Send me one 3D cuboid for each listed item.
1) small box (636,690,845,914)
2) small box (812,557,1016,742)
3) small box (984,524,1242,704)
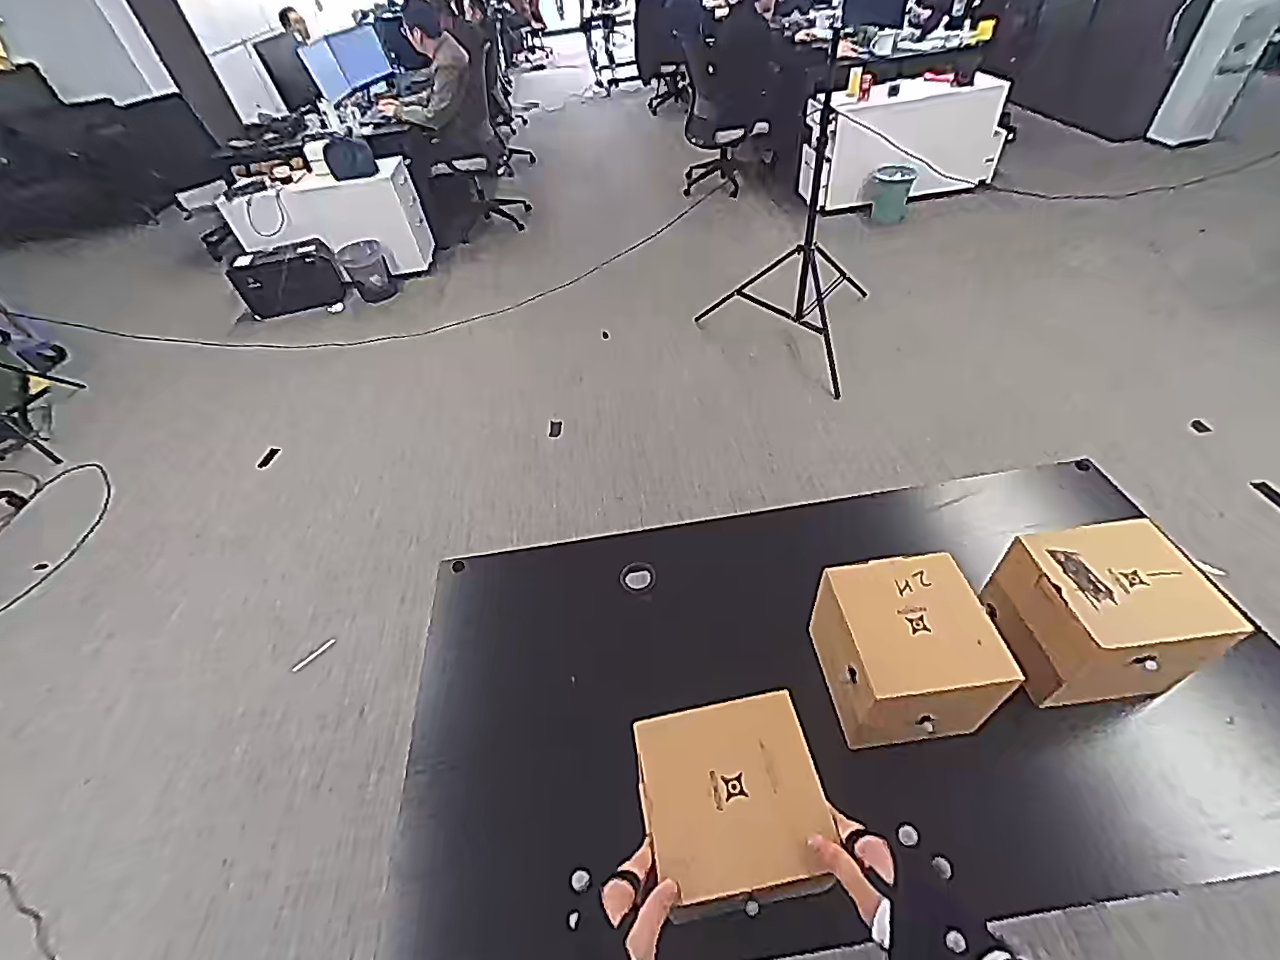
[{"bbox_3d":[0.103,0.364,0.607,0.179,0.176,0.168,-12,48,-2],"label":"small box"},{"bbox_3d":[0.340,0.228,0.714,0.168,0.176,0.179,-8,46,0],"label":"small box"},{"bbox_3d":[0.597,0.182,0.721,0.179,0.176,0.168,-7,46,1],"label":"small box"}]
